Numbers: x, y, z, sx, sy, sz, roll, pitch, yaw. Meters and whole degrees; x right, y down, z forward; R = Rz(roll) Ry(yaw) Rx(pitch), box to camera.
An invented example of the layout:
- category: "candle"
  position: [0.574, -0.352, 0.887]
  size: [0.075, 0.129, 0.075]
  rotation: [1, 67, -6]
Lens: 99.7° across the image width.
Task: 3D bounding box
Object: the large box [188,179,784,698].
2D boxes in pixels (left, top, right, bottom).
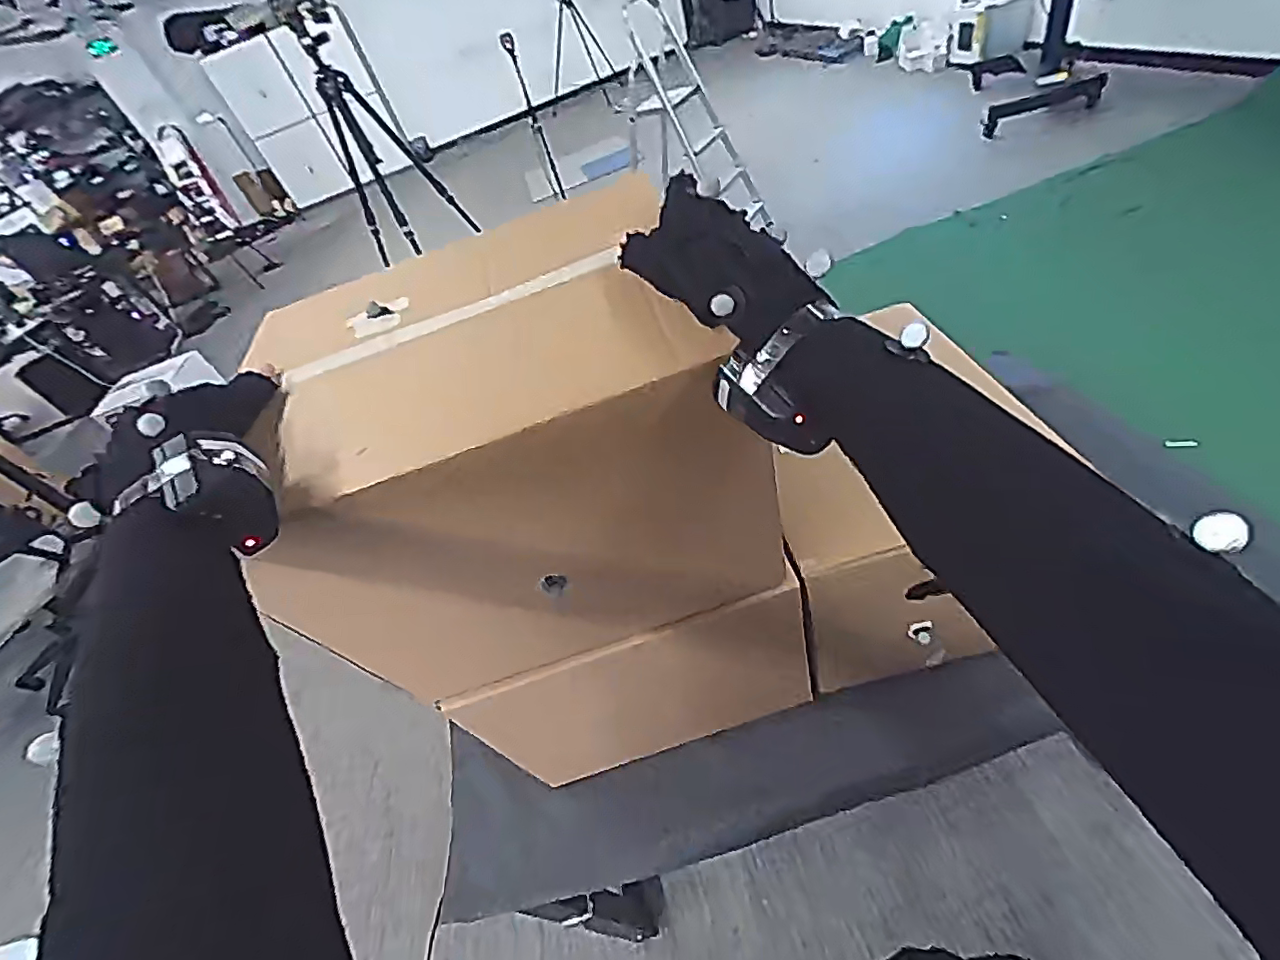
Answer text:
- category: "large box"
  position: [-0.108, -0.029, 0.554]
  size: [0.408, 0.320, 0.320]
  rotation: [-21, 48, 3]
